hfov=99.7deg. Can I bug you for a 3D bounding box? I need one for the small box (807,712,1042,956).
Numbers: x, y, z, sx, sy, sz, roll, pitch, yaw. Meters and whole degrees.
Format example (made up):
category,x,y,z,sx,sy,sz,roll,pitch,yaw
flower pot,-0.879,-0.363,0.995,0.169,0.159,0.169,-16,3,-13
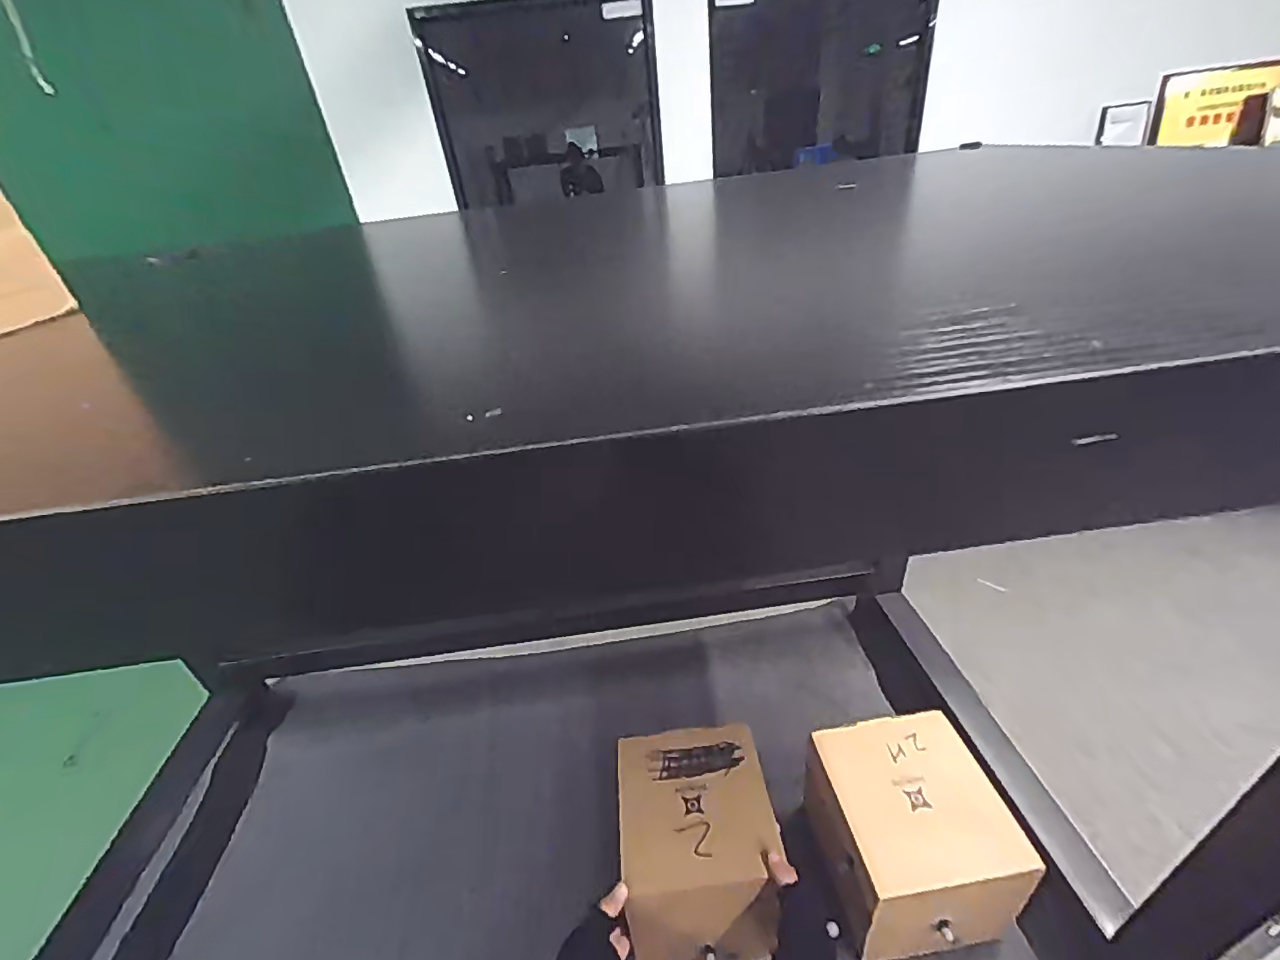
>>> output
category,x,y,z,sx,sy,sz,roll,pitch,yaw
small box,0.304,0.407,0.623,0.168,0.176,0.179,-9,31,-3
